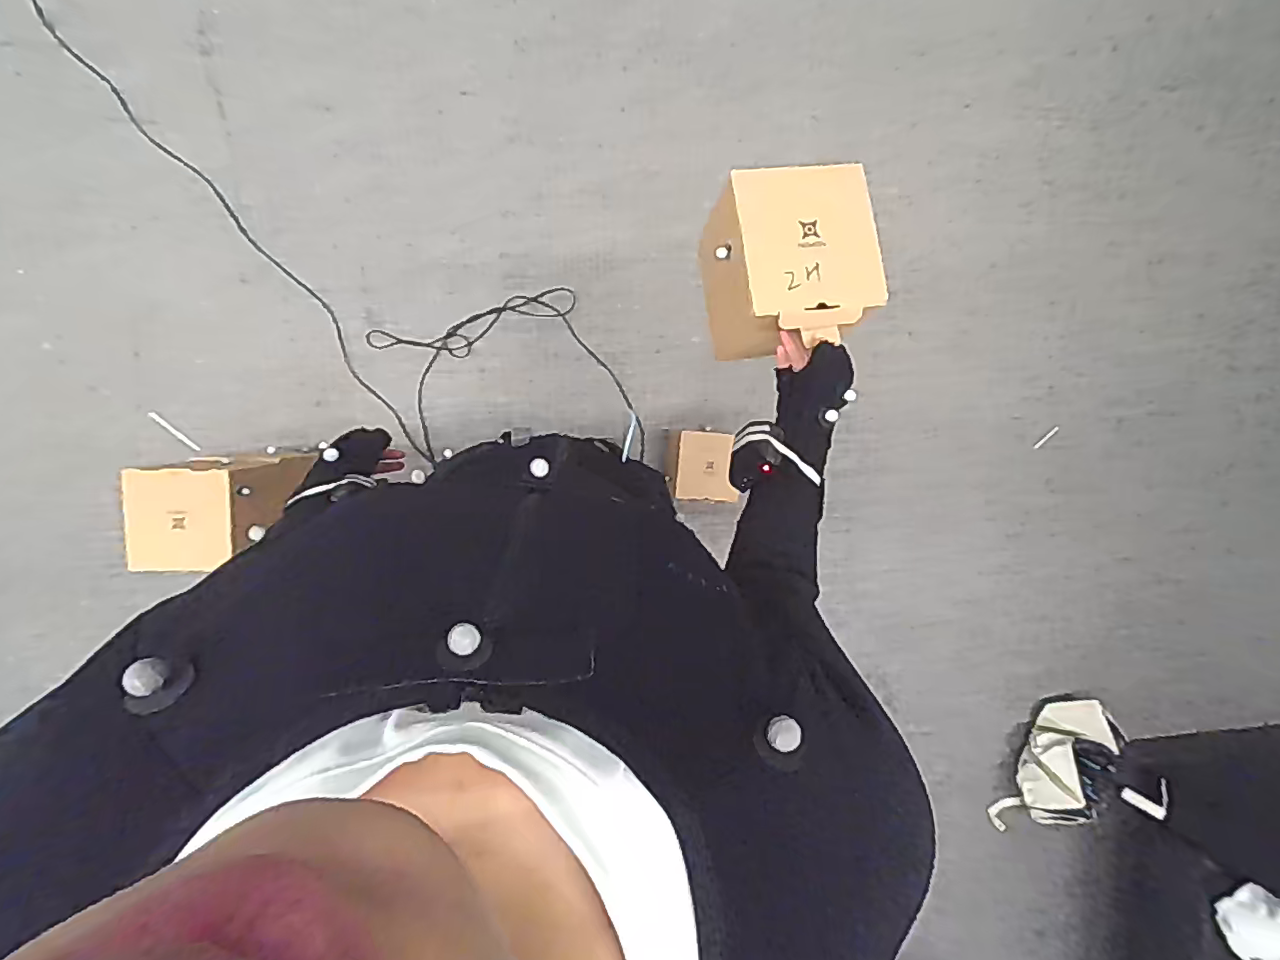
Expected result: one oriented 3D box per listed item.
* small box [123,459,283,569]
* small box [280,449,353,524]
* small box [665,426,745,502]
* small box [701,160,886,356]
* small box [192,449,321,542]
[{"bbox_3d":[-0.781,0.056,0.987,0.168,0.176,0.179,1,96,-7],"label":"small box"},{"bbox_3d":[-0.815,0.011,1.310,0.179,0.176,0.168,0,96,-7],"label":"small box"},{"bbox_3d":[0.164,-0.047,1.420,0.168,0.176,0.179,4,96,-8],"label":"small box"},{"bbox_3d":[0.184,-0.276,0.700,0.168,0.176,0.179,-8,86,-8],"label":"small box"},{"bbox_3d":[-0.801,0.029,1.147,0.168,0.176,0.179,1,96,-7],"label":"small box"}]
